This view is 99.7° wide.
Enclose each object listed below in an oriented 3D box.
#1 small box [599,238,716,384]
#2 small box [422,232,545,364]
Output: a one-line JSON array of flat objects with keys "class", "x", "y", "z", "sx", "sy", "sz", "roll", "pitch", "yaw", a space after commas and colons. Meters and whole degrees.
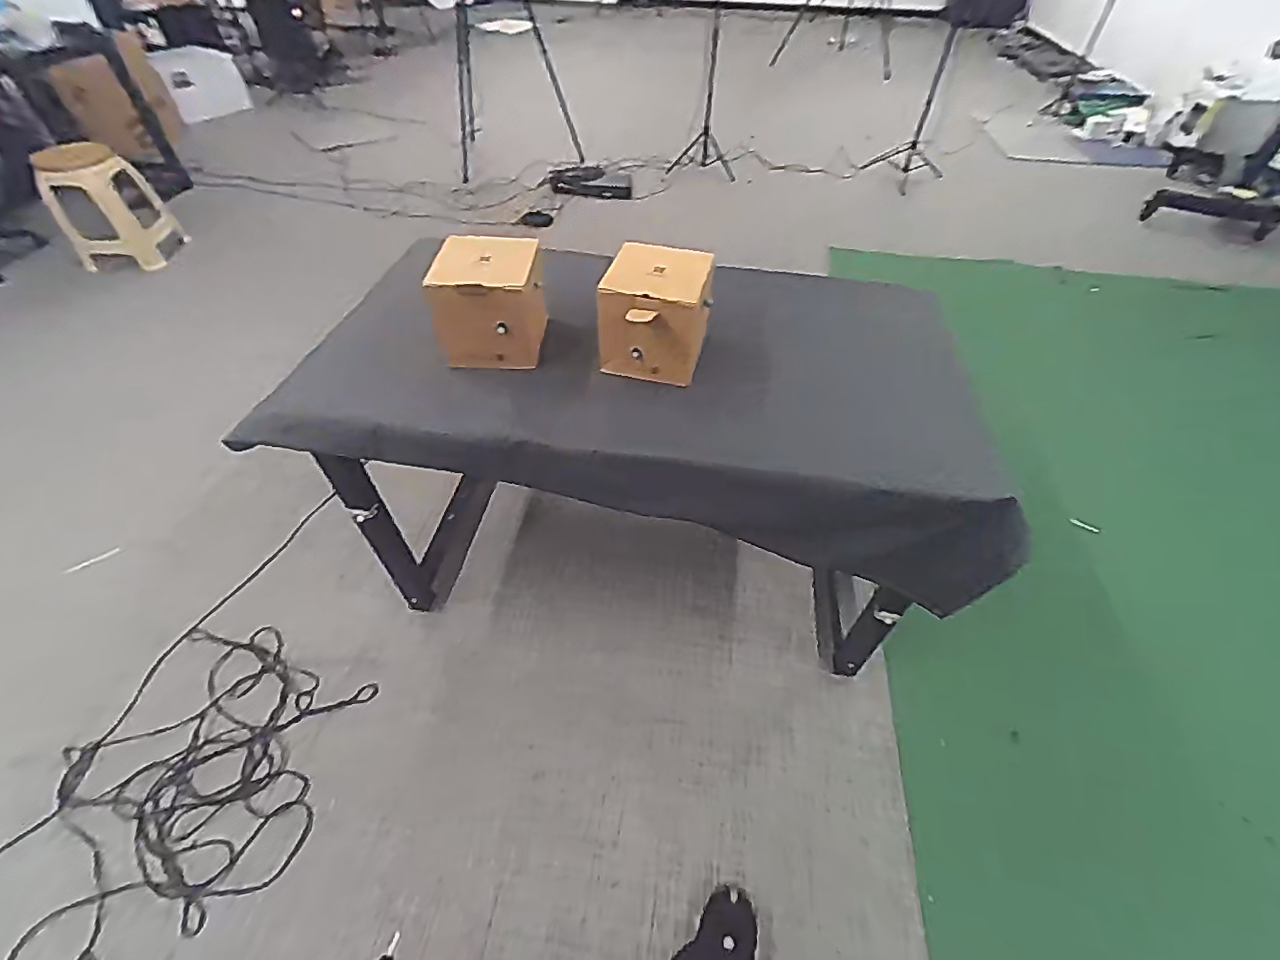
[{"class": "small box", "x": 0.030, "y": -0.300, "z": 0.962, "sx": 0.168, "sy": 0.176, "sz": 0.179, "roll": 13, "pitch": 49, "yaw": 8}, {"class": "small box", "x": -0.268, "y": -0.325, "z": 0.974, "sx": 0.168, "sy": 0.176, "sz": 0.179, "roll": 3, "pitch": 47, "yaw": -1}]
